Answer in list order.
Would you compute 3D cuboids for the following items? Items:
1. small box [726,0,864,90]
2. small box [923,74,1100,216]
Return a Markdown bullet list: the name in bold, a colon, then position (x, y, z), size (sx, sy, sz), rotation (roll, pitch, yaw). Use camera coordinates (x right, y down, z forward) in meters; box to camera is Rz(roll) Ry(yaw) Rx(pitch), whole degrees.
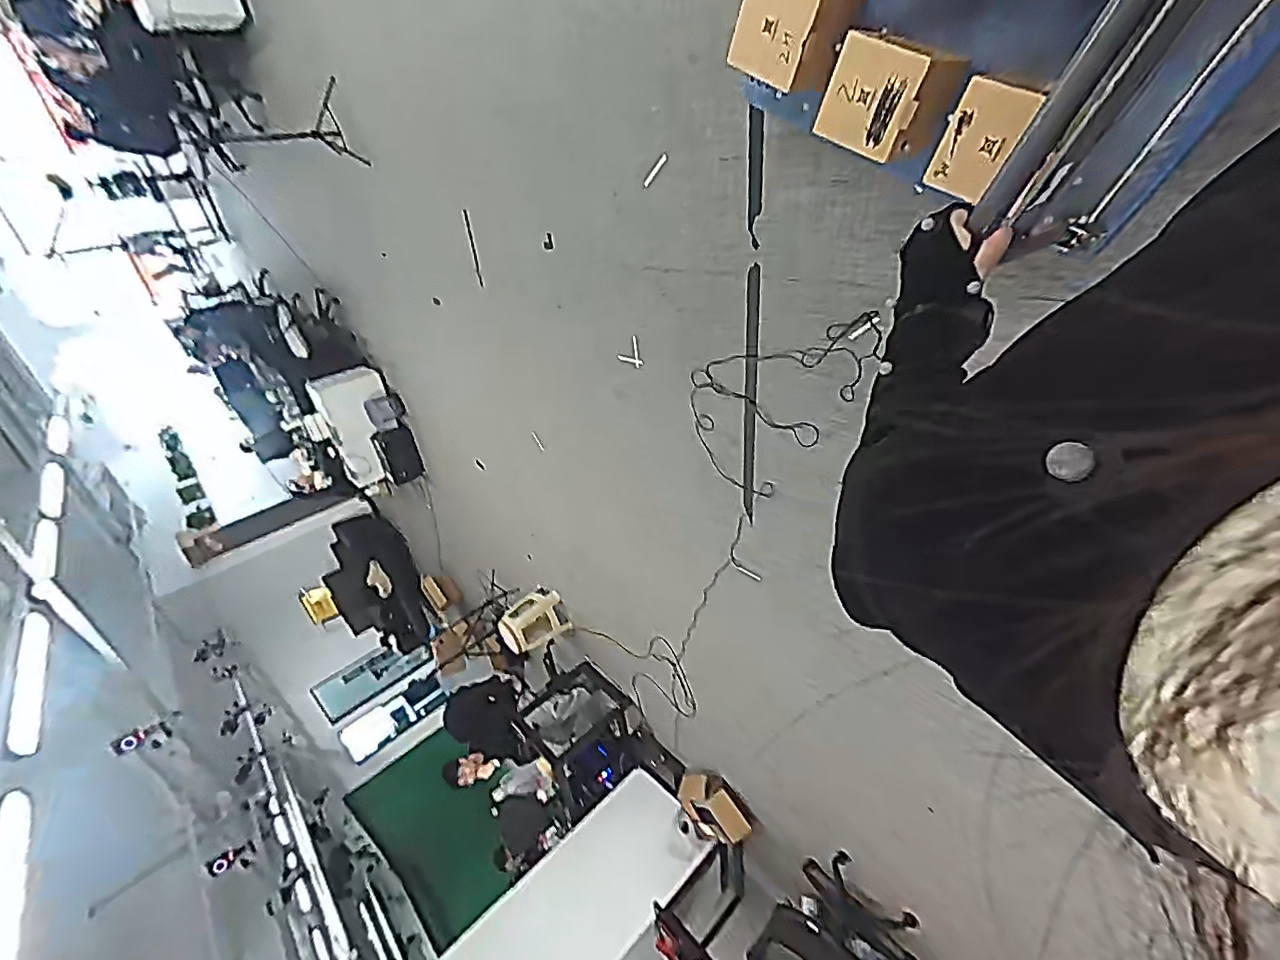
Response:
- **small box**: position (0.314, -0.924, 1.105), size (0.179, 0.176, 0.168), rotation (43, 143, 20)
- **small box**: position (0.646, -0.589, 0.943), size (0.179, 0.176, 0.168), rotation (40, 141, 25)
